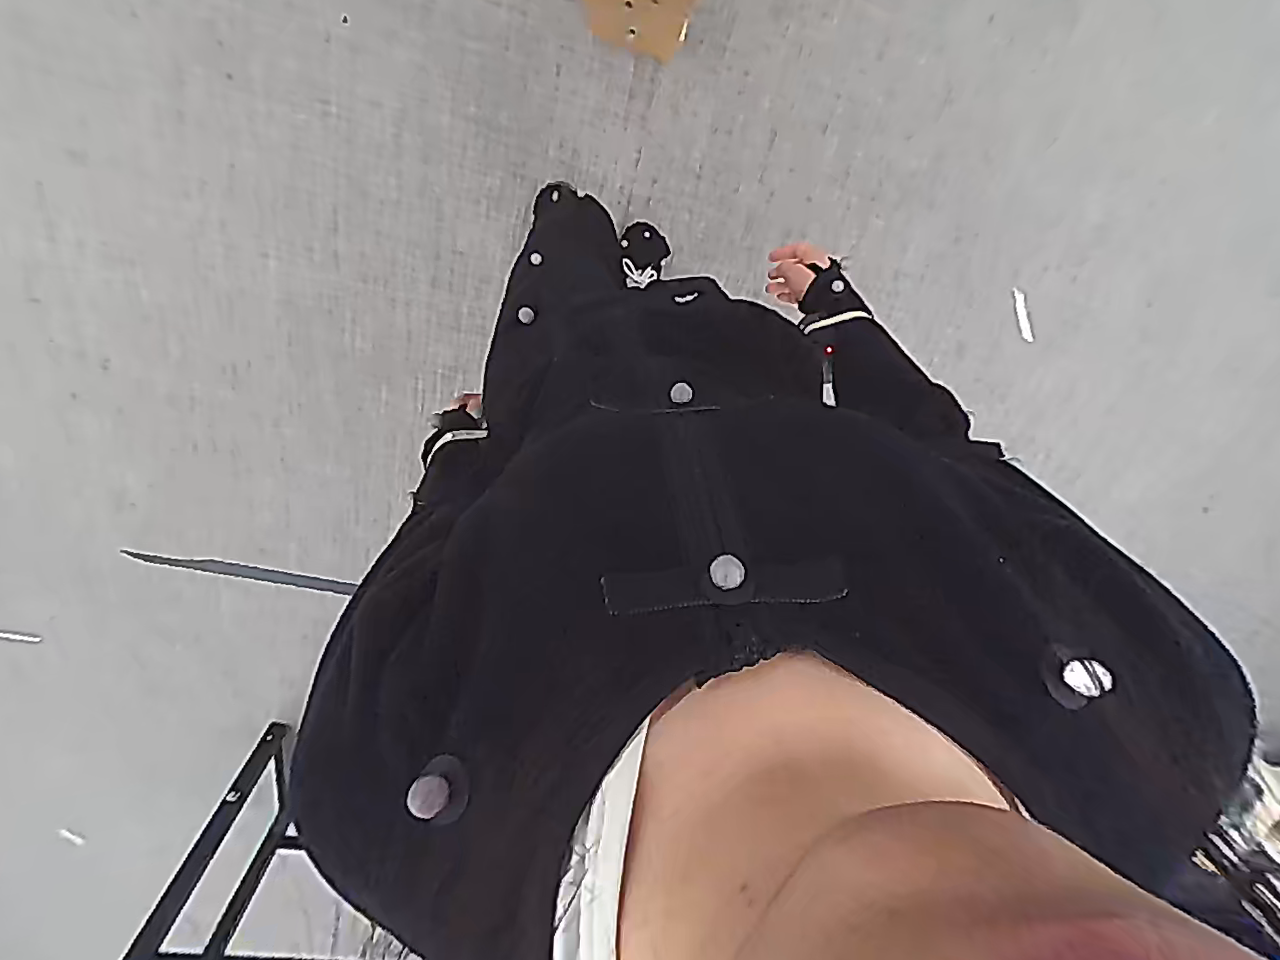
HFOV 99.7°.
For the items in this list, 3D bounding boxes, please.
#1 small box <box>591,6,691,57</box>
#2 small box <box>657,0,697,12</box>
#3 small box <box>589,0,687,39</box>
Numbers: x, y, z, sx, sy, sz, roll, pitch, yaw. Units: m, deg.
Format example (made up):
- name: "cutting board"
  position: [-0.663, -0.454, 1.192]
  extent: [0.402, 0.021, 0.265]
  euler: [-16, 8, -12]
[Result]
- name: "small box"
  position: [0.011, -0.934, 1.021]
  extent: [0.179, 0.176, 0.168]
  euler: [12, 116, -9]
- name: "small box"
  position: [0.031, -0.783, 0.731]
  extent: [0.168, 0.176, 0.179]
  euler: [14, 117, -10]
- name: "small box"
  position: [0.012, -0.858, 0.875]
  extent: [0.179, 0.176, 0.168]
  euler: [14, 116, -10]
